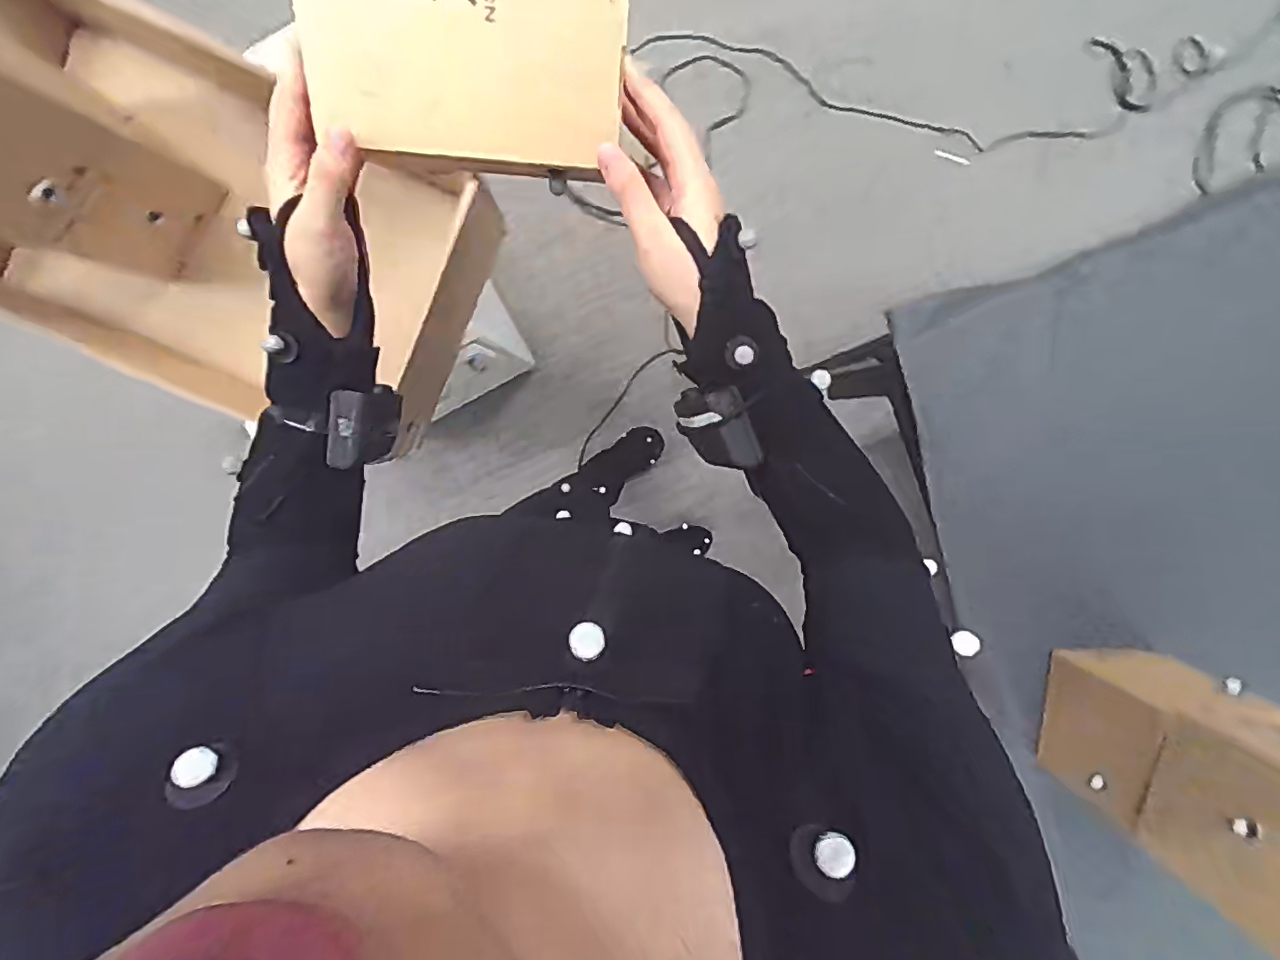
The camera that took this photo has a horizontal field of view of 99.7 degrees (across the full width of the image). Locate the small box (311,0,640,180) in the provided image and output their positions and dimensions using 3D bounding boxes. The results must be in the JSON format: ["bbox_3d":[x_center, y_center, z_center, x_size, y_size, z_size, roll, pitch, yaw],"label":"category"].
[{"bbox_3d":[-0.091,-0.301,0.356,0.179,0.176,0.168,3,116,-6],"label":"small box"}]

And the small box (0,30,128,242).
[{"bbox_3d":[-0.680,-0.364,0.523,0.179,0.176,0.168,39,97,-8],"label":"small box"}]

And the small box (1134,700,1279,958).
[{"bbox_3d":[0.677,0.361,0.561,0.168,0.176,0.179,10,95,-4],"label":"small box"}]
